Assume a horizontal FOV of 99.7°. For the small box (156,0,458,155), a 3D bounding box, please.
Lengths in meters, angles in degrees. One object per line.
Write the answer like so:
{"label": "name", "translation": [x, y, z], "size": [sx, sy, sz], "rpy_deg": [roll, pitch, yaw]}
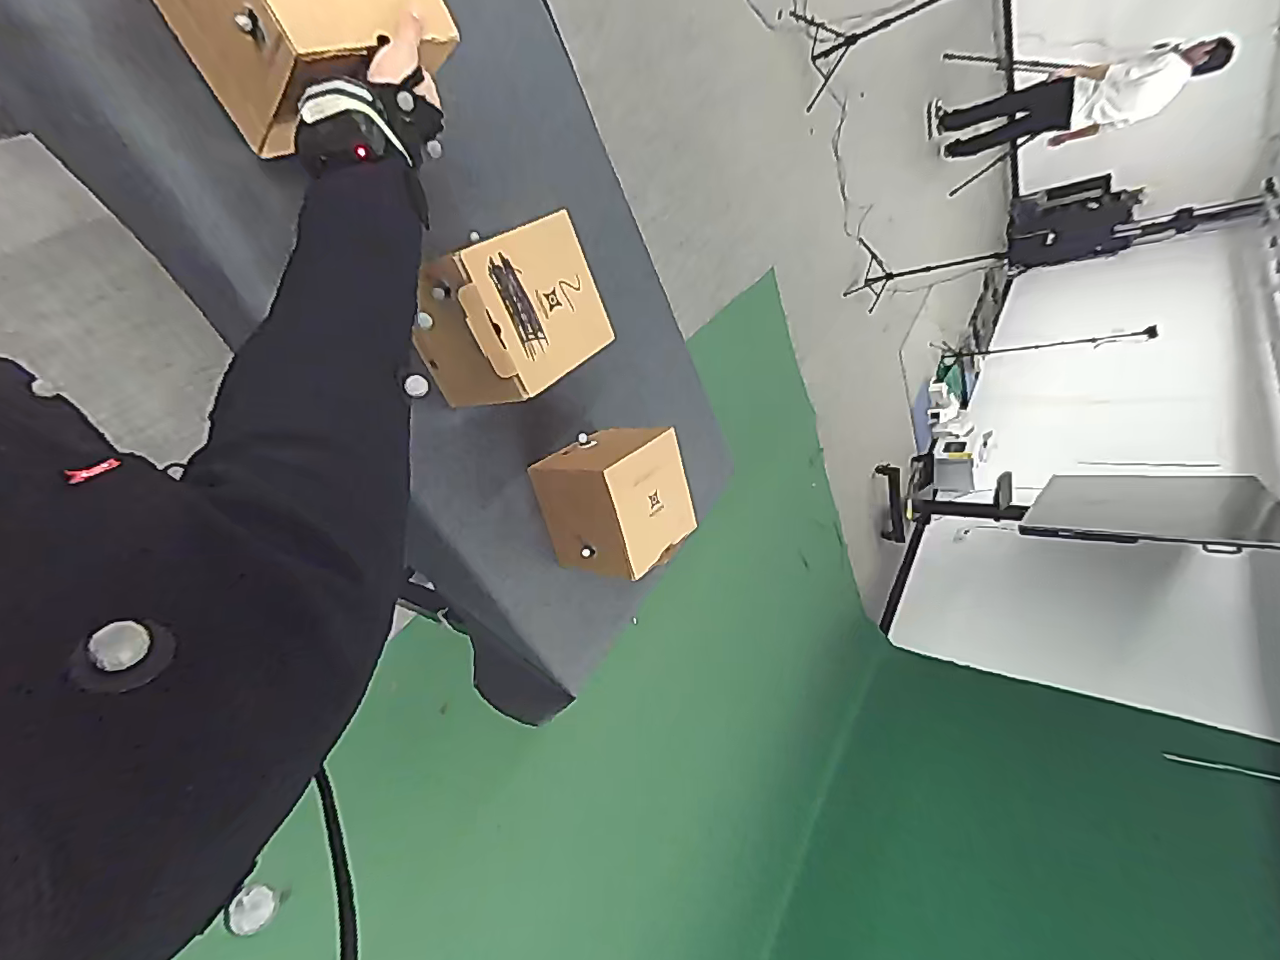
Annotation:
{"label": "small box", "translation": [-0.311, -0.437, 0.492], "size": [0.168, 0.176, 0.179], "rpy_deg": [-46, 119, -36]}

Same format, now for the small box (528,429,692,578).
{"label": "small box", "translation": [-0.046, 0.027, 0.852], "size": [0.168, 0.176, 0.179], "rpy_deg": [-34, 117, -43]}
